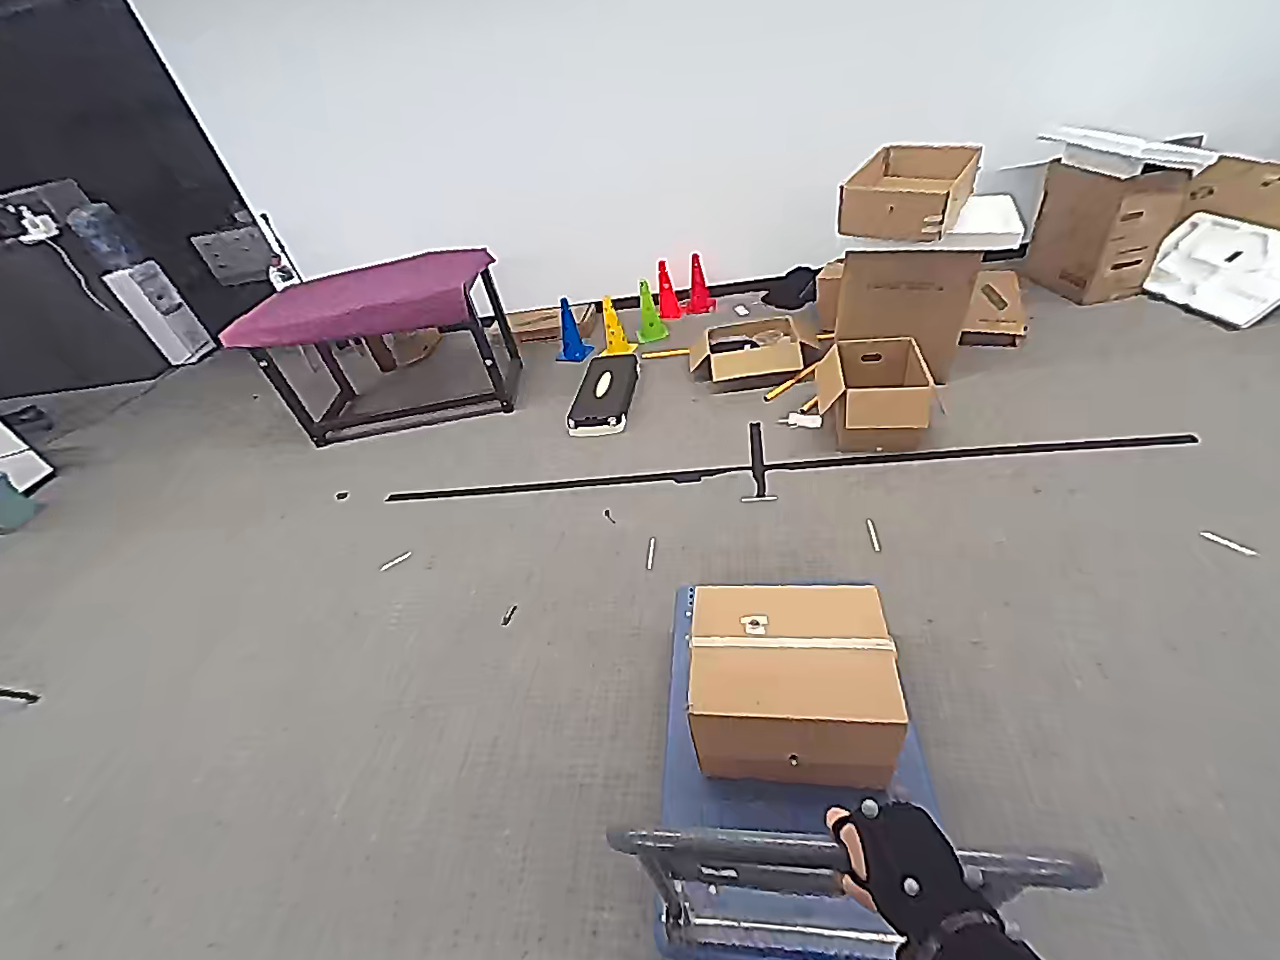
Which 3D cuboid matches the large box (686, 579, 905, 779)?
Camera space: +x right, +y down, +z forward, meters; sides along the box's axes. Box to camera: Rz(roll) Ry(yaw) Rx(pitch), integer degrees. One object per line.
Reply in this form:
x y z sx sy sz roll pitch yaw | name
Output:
0.329 0.446 1.213 0.408 0.320 0.320 -4 39 12 | large box
